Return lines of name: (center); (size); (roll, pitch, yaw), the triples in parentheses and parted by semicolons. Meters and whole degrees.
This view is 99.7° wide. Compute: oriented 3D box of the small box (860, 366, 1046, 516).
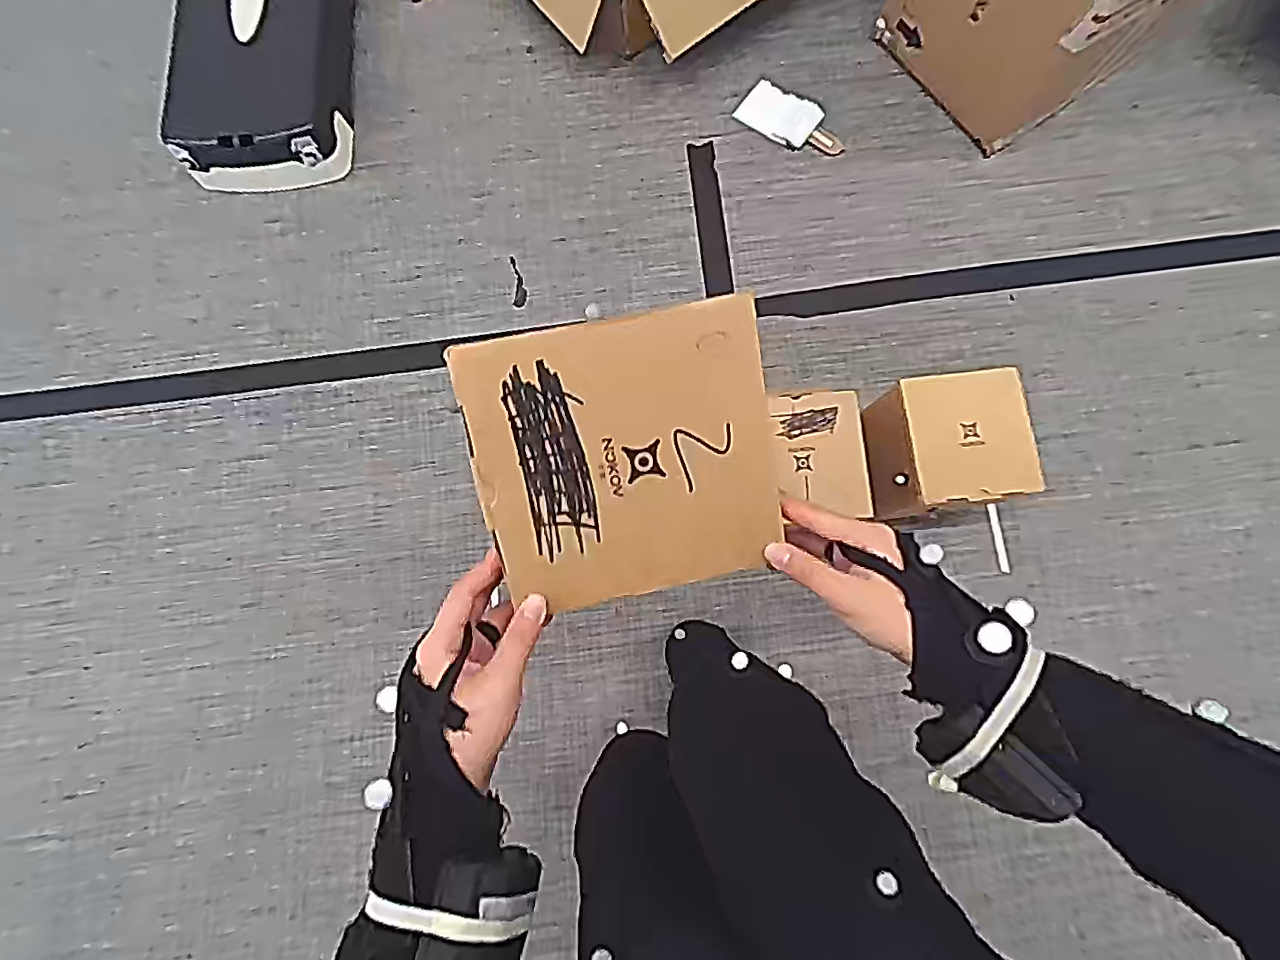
small box: (0.440, -0.049, 0.795); (0.168, 0.176, 0.179); (-6, 80, -1)

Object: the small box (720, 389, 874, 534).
small box: (0.215, -0.019, 0.788); (0.168, 0.176, 0.179); (-4, 80, 0)
